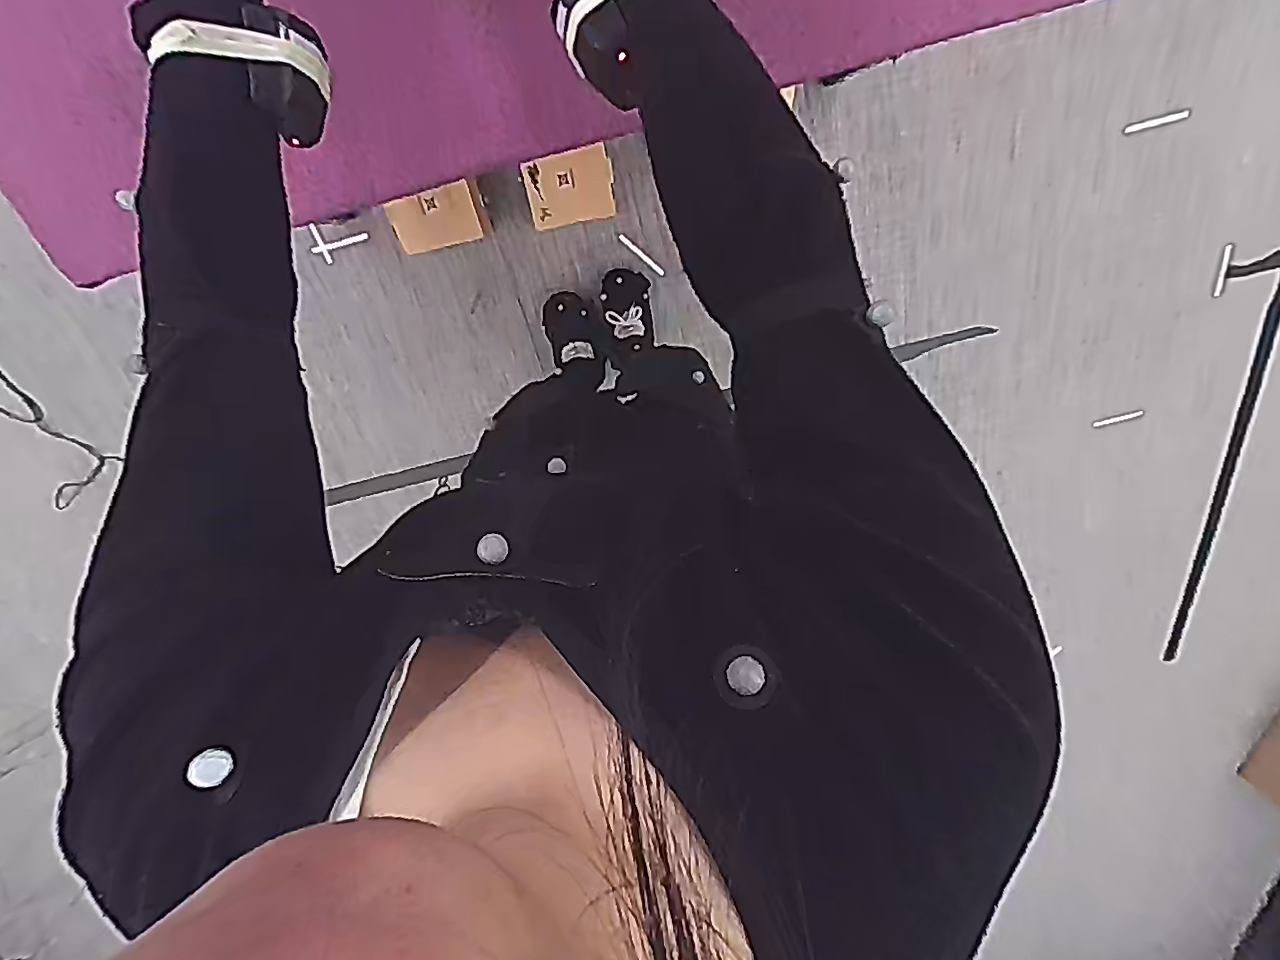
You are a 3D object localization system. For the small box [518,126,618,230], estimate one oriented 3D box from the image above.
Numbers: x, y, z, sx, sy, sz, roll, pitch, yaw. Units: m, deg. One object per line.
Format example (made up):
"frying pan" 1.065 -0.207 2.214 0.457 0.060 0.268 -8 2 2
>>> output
"small box" -0.151 -0.644 1.160 0.179 0.176 0.168 -11 118 -1
